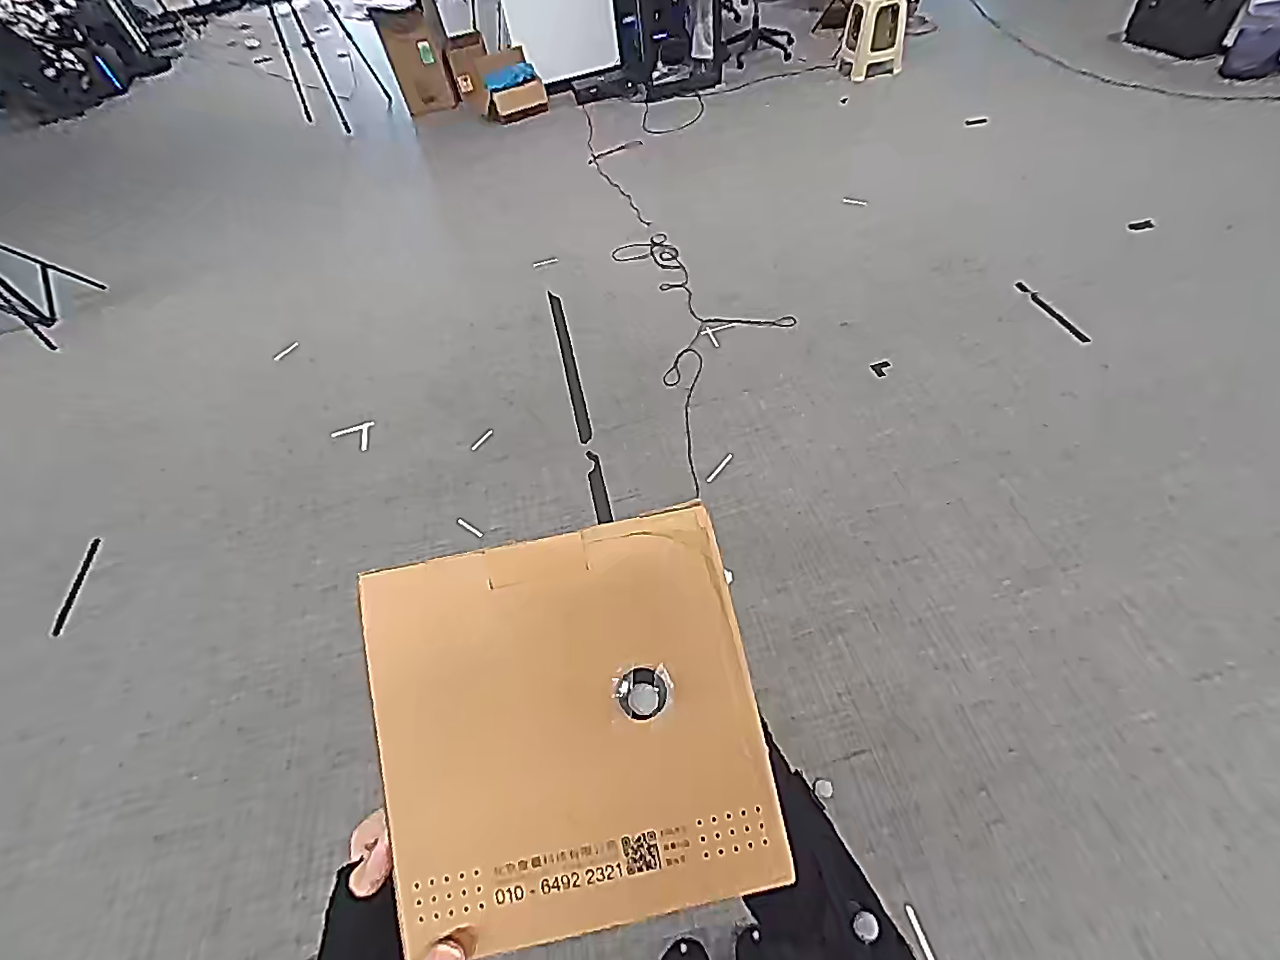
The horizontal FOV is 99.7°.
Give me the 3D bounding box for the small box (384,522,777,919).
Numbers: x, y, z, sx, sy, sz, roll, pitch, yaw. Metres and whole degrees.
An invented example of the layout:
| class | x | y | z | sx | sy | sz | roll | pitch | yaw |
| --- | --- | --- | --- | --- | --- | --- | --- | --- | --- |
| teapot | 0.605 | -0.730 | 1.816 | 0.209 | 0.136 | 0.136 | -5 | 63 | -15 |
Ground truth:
| class | x | y | z | sx | sy | sz | roll | pitch | yaw |
| --- | --- | --- | --- | --- | --- | --- | --- | --- | --- |
| small box | -0.027 | 0.129 | 0.335 | 0.168 | 0.179 | 0.176 | -11 | 82 | -1 |
